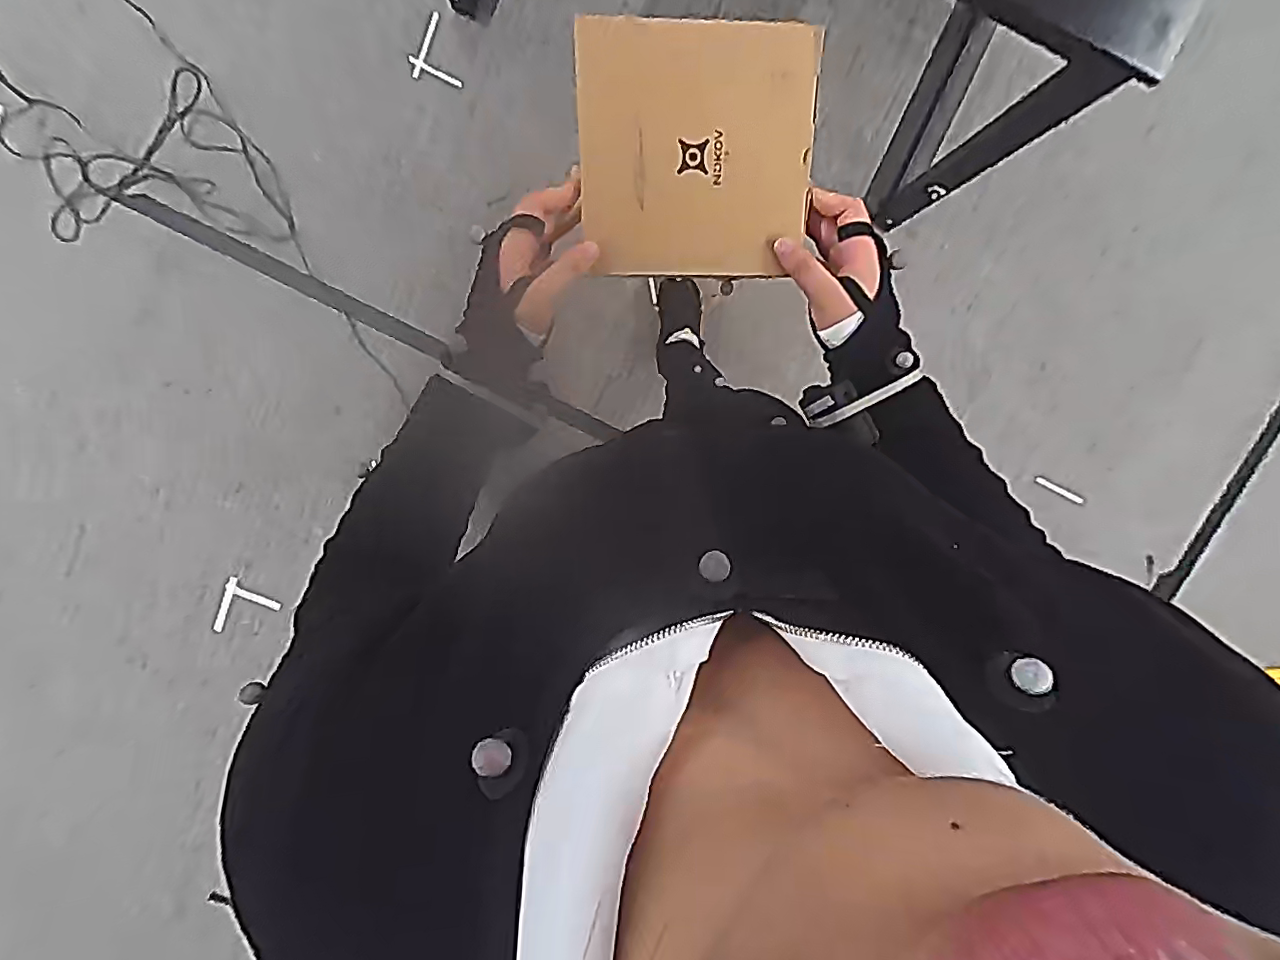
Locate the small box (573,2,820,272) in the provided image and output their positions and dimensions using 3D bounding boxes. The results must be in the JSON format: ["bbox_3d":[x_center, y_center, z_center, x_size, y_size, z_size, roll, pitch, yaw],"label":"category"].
[{"bbox_3d":[0.035,-0.275,0.472,0.179,0.176,0.168,-2,109,-3],"label":"small box"}]
